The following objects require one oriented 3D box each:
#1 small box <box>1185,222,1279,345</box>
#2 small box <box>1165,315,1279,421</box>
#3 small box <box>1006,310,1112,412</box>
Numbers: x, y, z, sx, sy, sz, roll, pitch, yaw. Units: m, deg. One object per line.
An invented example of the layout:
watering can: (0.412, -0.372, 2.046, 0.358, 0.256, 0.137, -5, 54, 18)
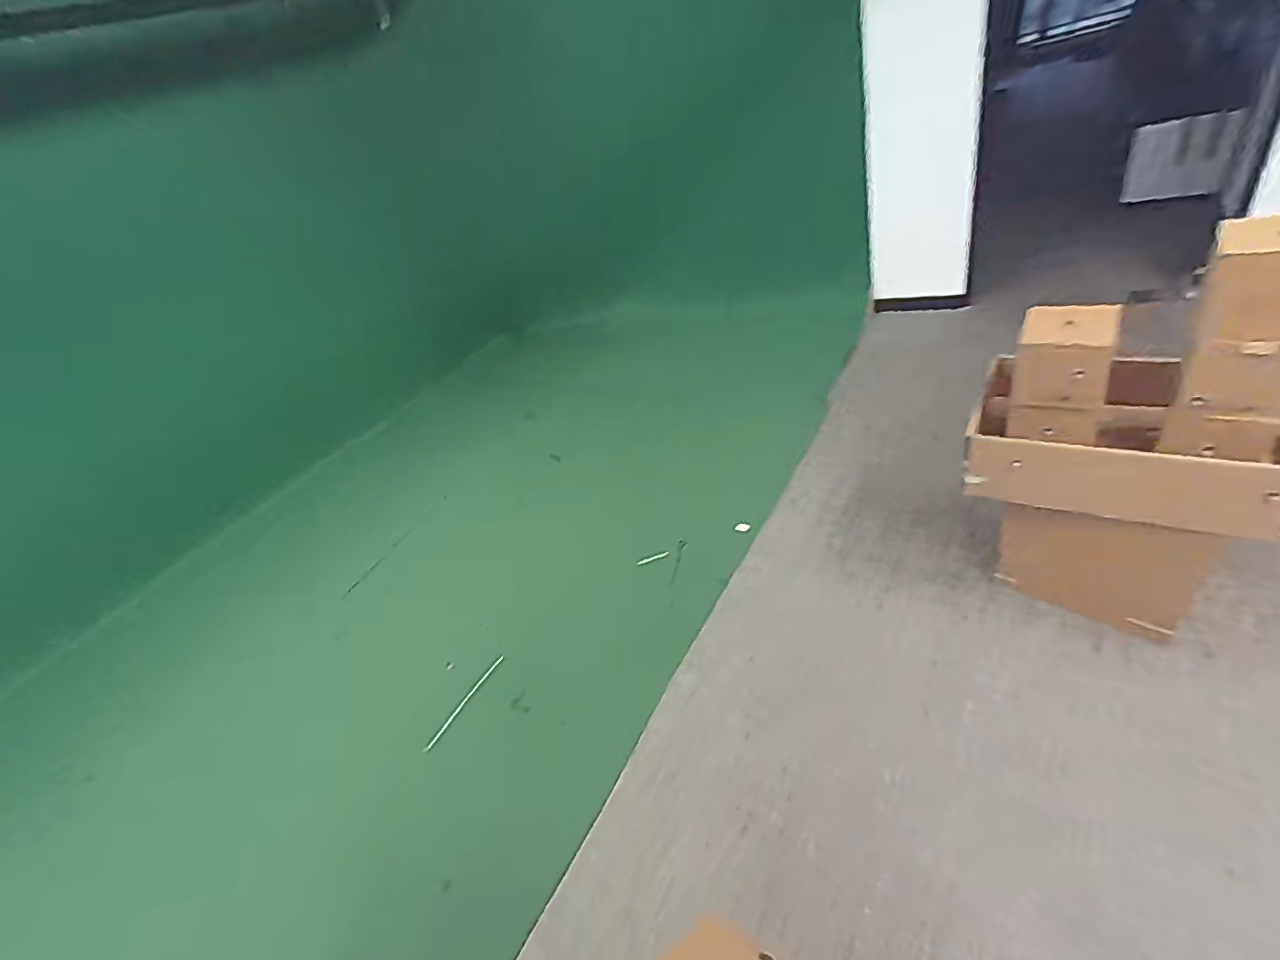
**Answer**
small box: (1.156, -0.363, 1.005, 0.179, 0.176, 0.168, 14, 48, 36)
small box: (1.204, -0.238, 1.097, 0.168, 0.176, 0.179, 14, 48, 38)
small box: (0.968, -0.276, 1.257, 0.168, 0.176, 0.179, 12, 47, 36)
